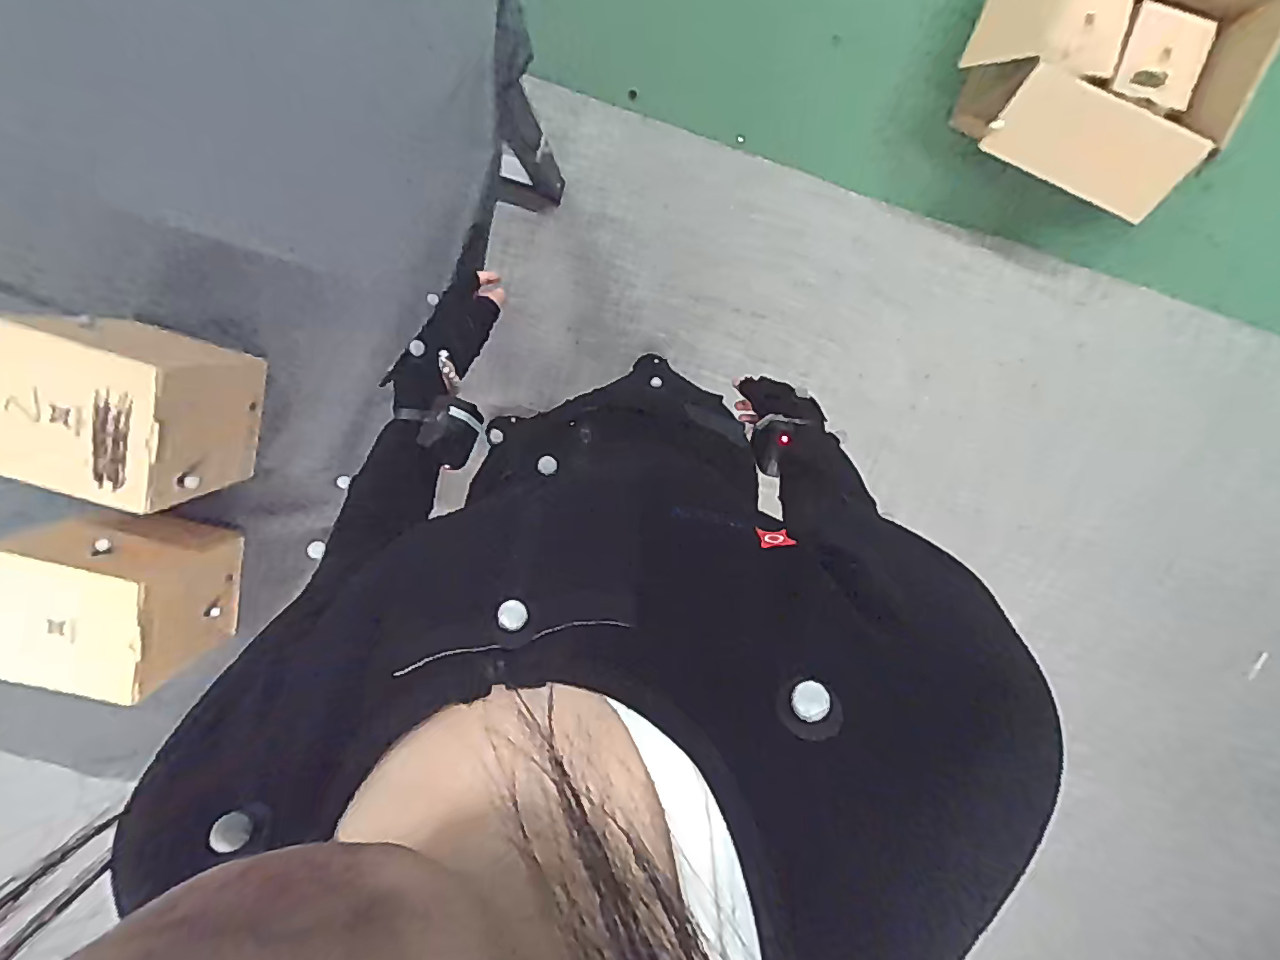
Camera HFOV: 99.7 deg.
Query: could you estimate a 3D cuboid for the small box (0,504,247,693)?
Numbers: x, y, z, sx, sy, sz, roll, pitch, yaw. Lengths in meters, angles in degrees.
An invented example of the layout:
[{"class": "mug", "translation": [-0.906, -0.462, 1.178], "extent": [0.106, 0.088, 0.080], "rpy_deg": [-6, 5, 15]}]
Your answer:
[{"class": "small box", "translation": [-0.665, 0.142, 0.706], "extent": [0.179, 0.176, 0.168], "rpy_deg": [14, 104, -5]}]
